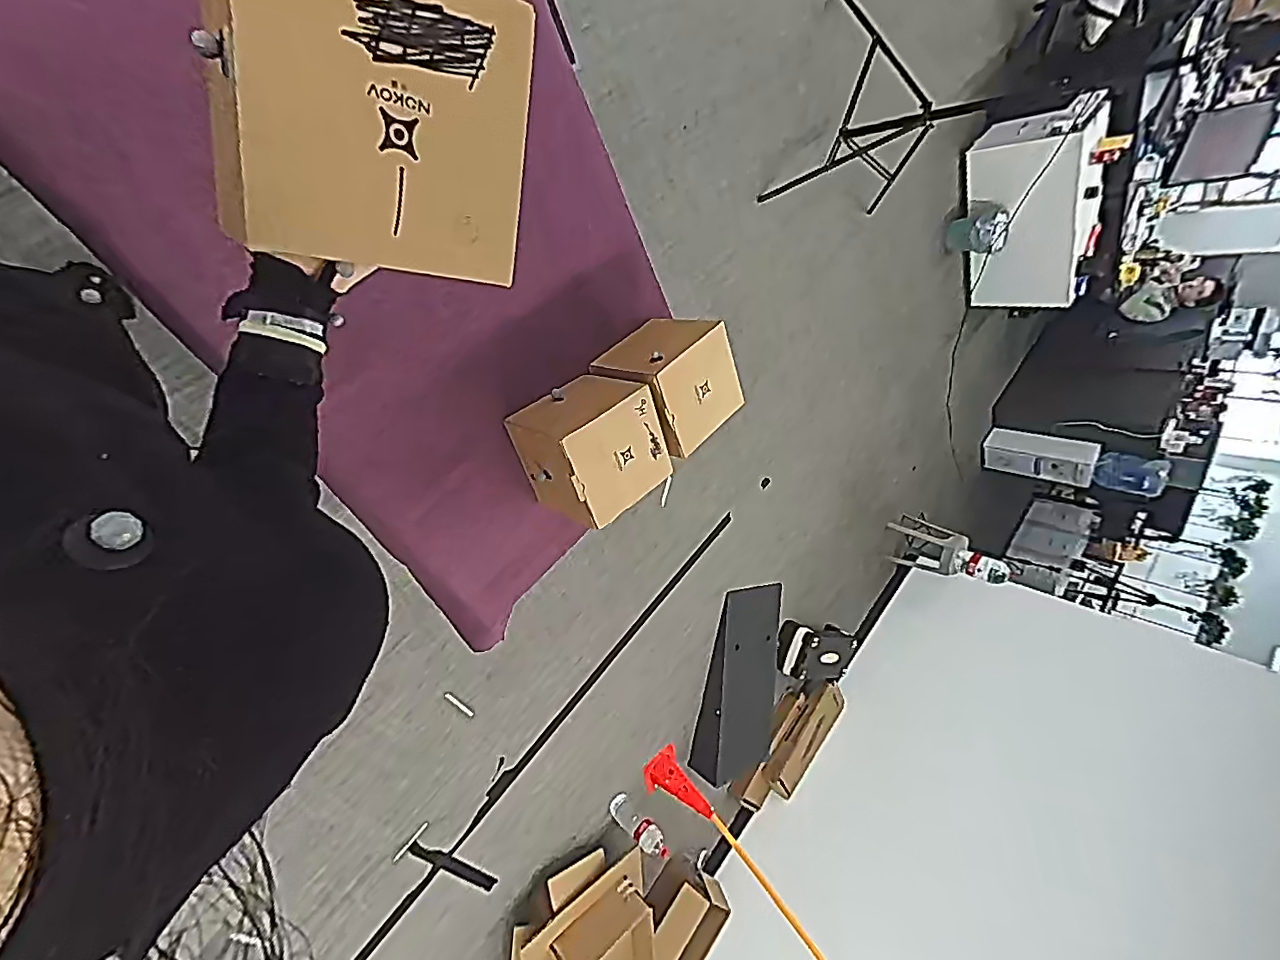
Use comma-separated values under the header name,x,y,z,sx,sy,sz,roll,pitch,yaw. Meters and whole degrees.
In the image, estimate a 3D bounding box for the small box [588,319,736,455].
name,x,y,z,sx,sy,sz,roll,pitch,yaw
small box,0.040,-0.173,0.959,0.179,0.176,0.168,-43,130,-25

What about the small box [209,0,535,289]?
name,x,y,z,sx,sy,sz,roll,pitch,yaw
small box,-0.197,-0.250,0.392,0.168,0.176,0.179,-7,117,-40
